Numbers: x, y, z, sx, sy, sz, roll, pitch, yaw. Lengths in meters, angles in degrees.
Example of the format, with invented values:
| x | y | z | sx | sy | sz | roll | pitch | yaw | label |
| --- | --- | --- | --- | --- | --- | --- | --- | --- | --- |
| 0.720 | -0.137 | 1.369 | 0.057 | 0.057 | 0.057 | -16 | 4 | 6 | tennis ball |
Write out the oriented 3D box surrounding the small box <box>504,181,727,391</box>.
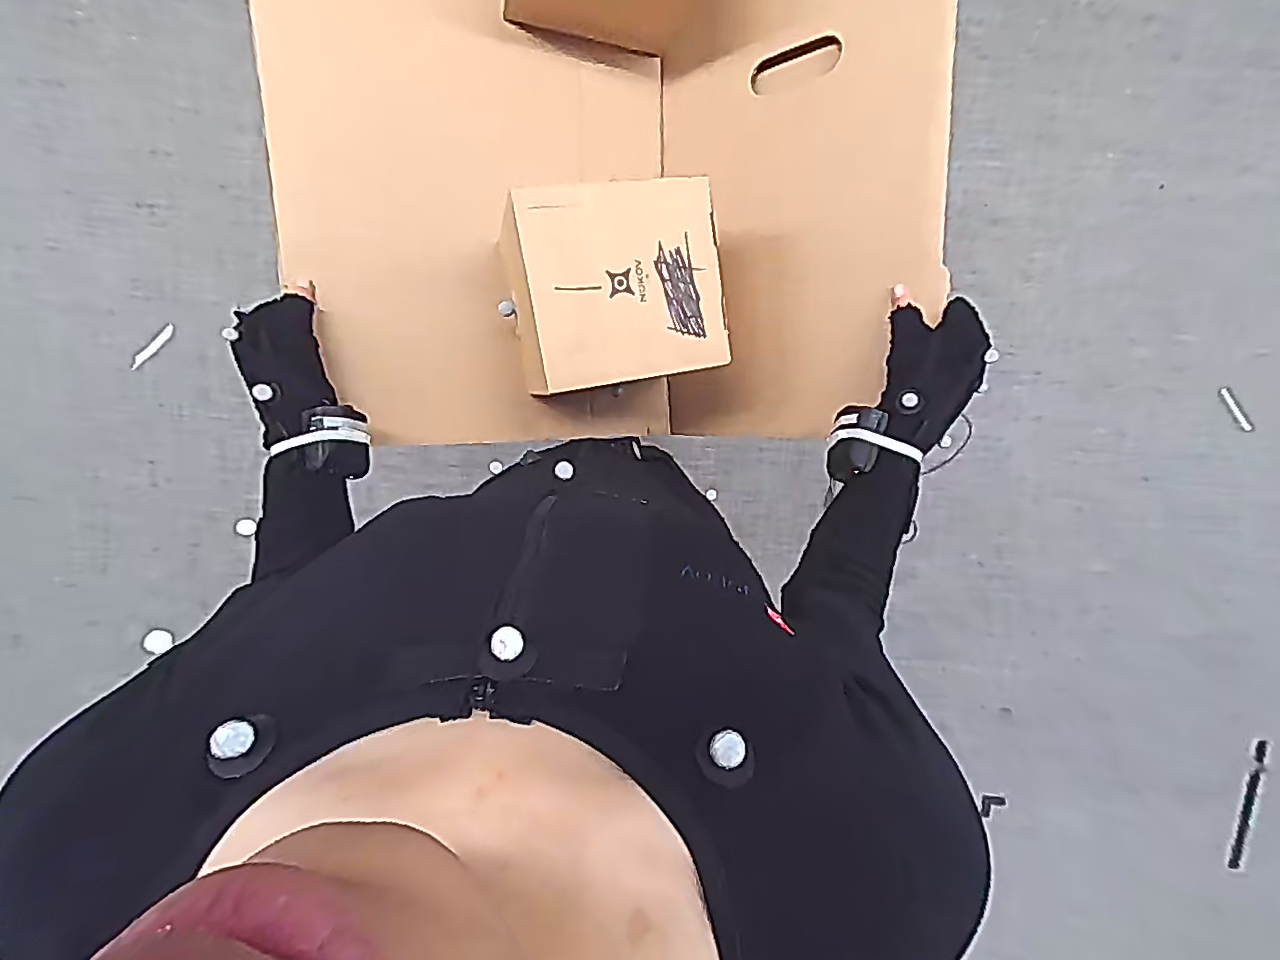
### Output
| x | y | z | sx | sy | sz | roll | pitch | yaw | label |
| --- | --- | --- | --- | --- | --- | --- | --- | --- | --- |
| -0.033 | -0.186 | 0.552 | 0.179 | 0.176 | 0.168 | -12 | 102 | -15 | small box |

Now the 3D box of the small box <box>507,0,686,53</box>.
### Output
| x | y | z | sx | sy | sz | roll | pitch | yaw | label |
| --- | --- | --- | --- | --- | --- | --- | --- | --- | --- |
| -0.030 | -0.541 | 0.497 | 0.179 | 0.176 | 0.168 | 0 | 99 | -18 | small box |
